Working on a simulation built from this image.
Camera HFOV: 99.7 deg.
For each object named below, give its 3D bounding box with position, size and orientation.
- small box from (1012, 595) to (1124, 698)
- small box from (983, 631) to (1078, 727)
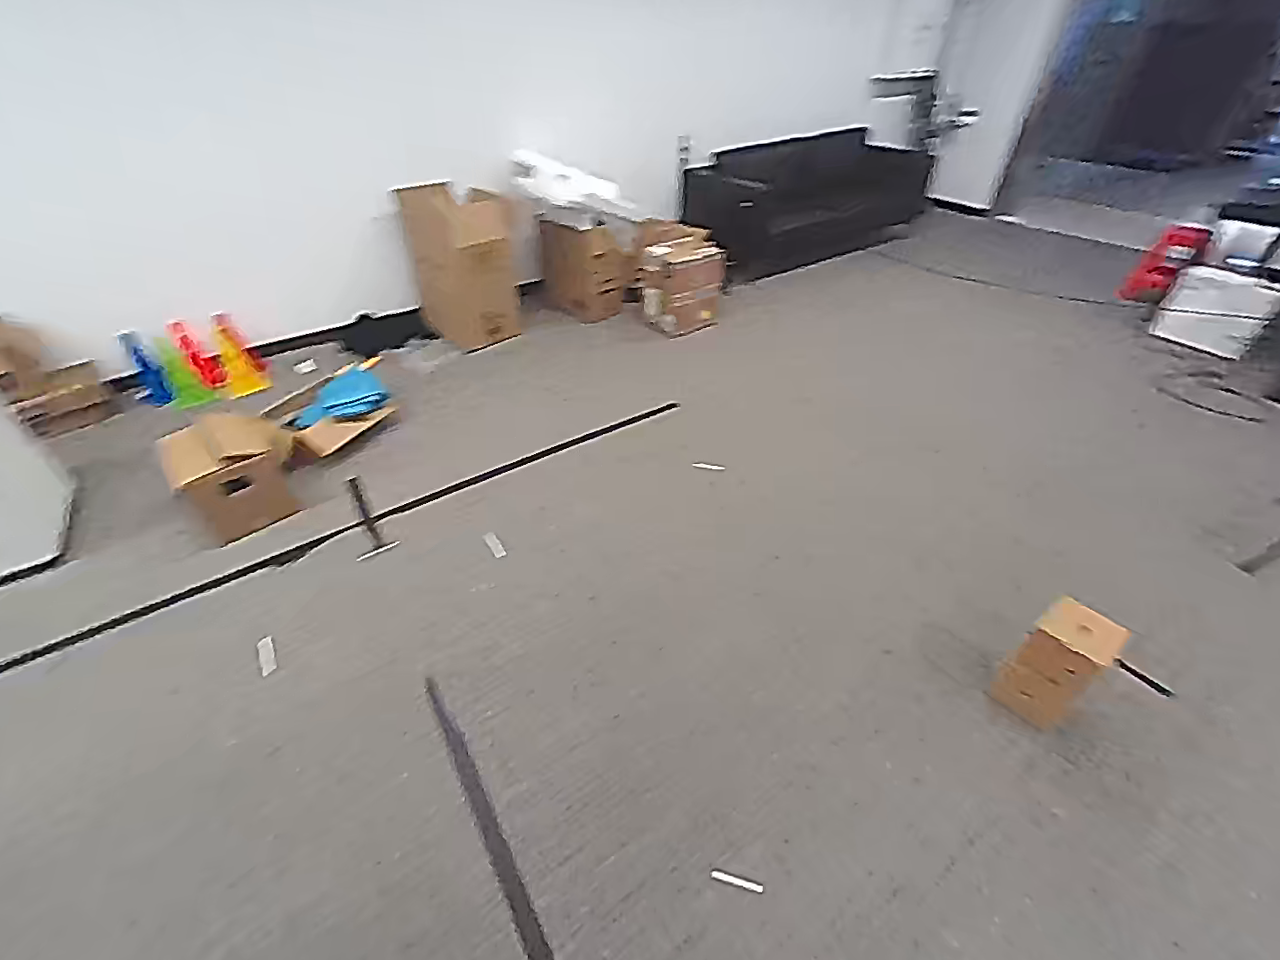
[{"bbox_3d":[1.161,0.458,1.480,0.179,0.176,0.168,-27,47,-30],"label":"small box"},{"bbox_3d":[1.149,0.587,1.579,0.168,0.176,0.179,-31,47,-32],"label":"small box"}]
